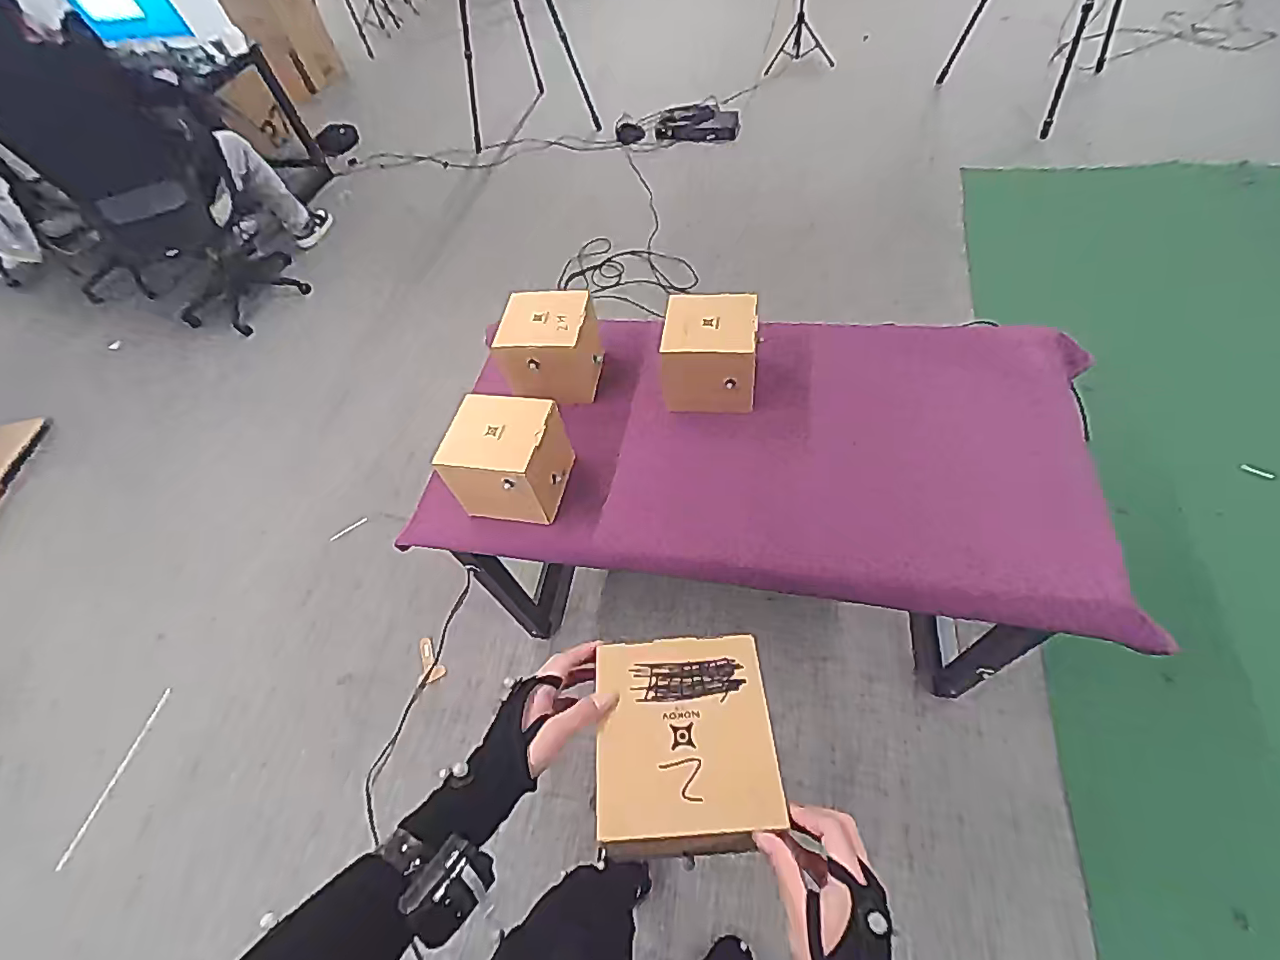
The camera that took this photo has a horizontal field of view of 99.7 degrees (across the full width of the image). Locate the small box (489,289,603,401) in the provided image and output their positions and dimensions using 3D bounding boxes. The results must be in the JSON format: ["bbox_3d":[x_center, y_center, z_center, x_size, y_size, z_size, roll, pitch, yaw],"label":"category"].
[{"bbox_3d":[-0.189,-0.281,1.145,0.179,0.176,0.168,2,58,11],"label":"small box"}]

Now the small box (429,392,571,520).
[{"bbox_3d":[-0.245,-0.040,0.993,0.179,0.176,0.168,6,56,12],"label":"small box"}]

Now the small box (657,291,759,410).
[{"bbox_3d":[0.140,-0.253,1.075,0.179,0.176,0.168,3,57,12],"label":"small box"}]
